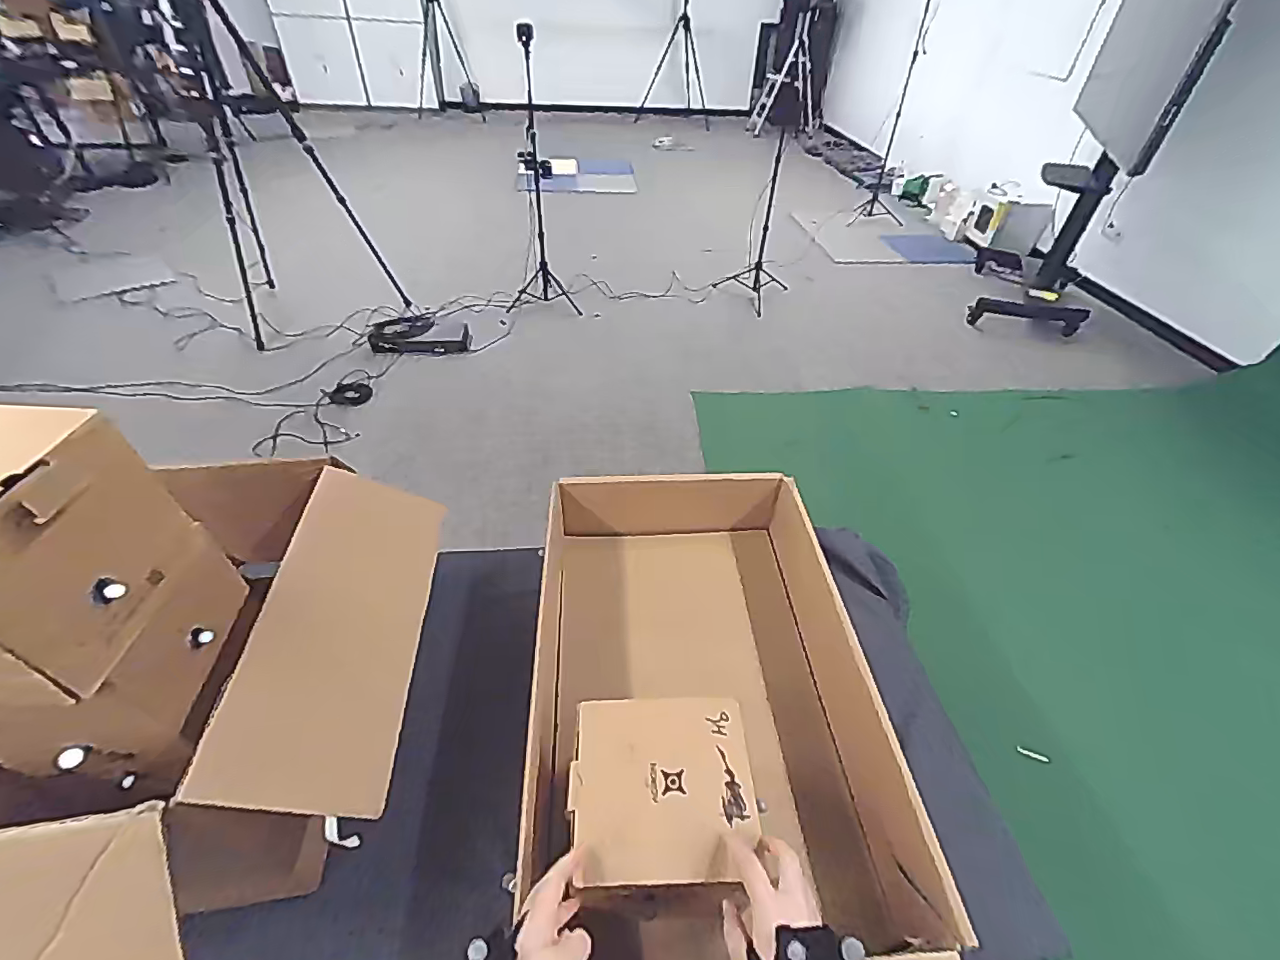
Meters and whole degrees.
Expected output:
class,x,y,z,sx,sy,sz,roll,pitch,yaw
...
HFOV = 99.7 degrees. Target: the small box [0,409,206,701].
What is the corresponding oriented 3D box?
class,x,y,z,sx,sy,sz,roll,pitch,yaw
small box,-0.511,0.059,0.427,0.179,0.176,0.168,2,44,-2
